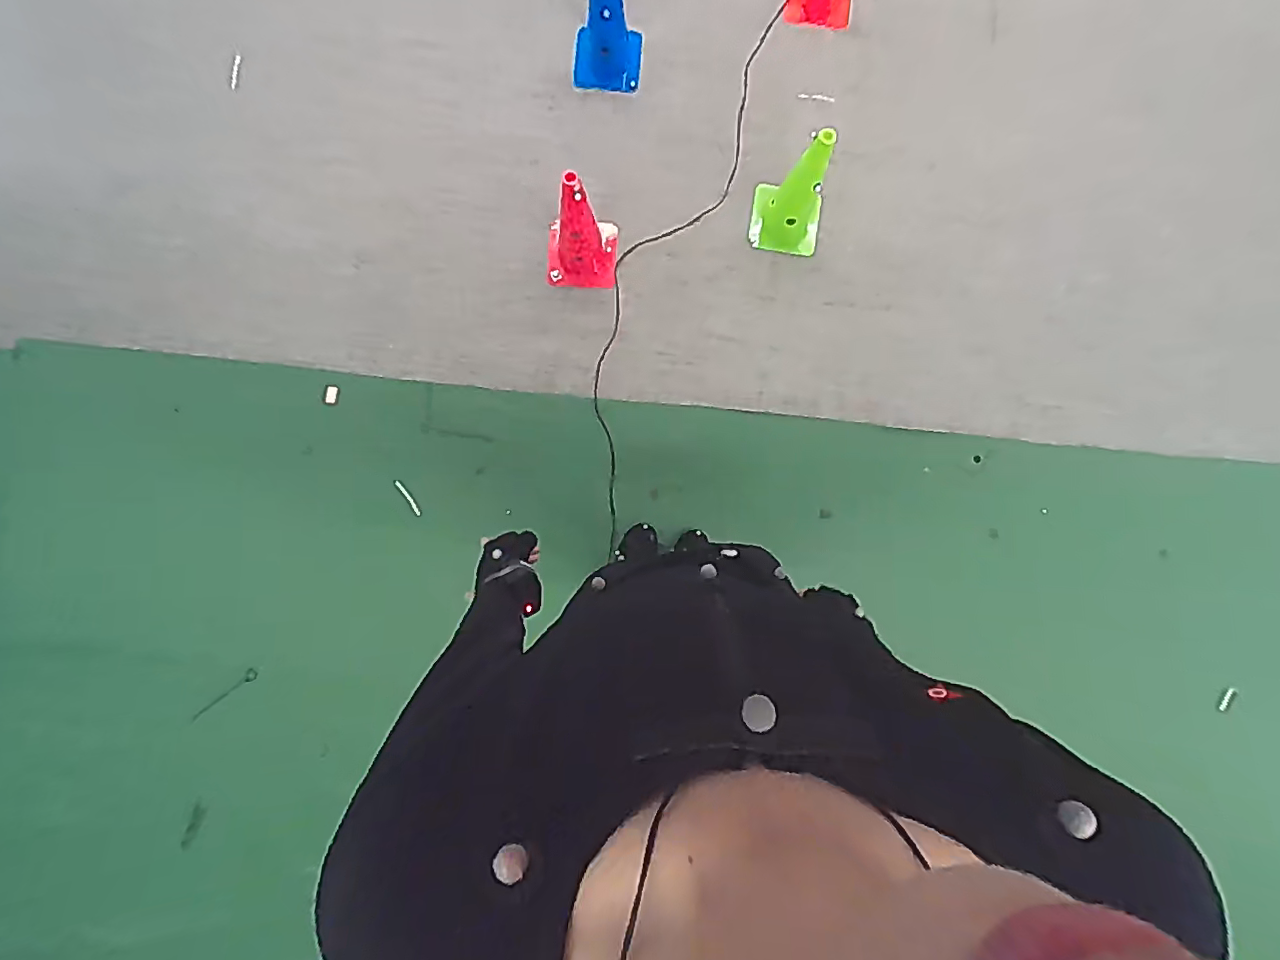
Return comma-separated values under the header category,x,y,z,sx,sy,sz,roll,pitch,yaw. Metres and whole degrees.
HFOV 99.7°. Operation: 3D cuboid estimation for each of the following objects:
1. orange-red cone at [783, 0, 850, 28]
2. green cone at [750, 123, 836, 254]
category,x,y,z,sx,sy,sz,roll,pitch,yaw
orange-red cone,0.552,-1.512,1.502,0.198,0.360,0.199,10,87,1
green cone,0.438,-0.792,1.436,0.200,0.368,0.202,8,84,-1
